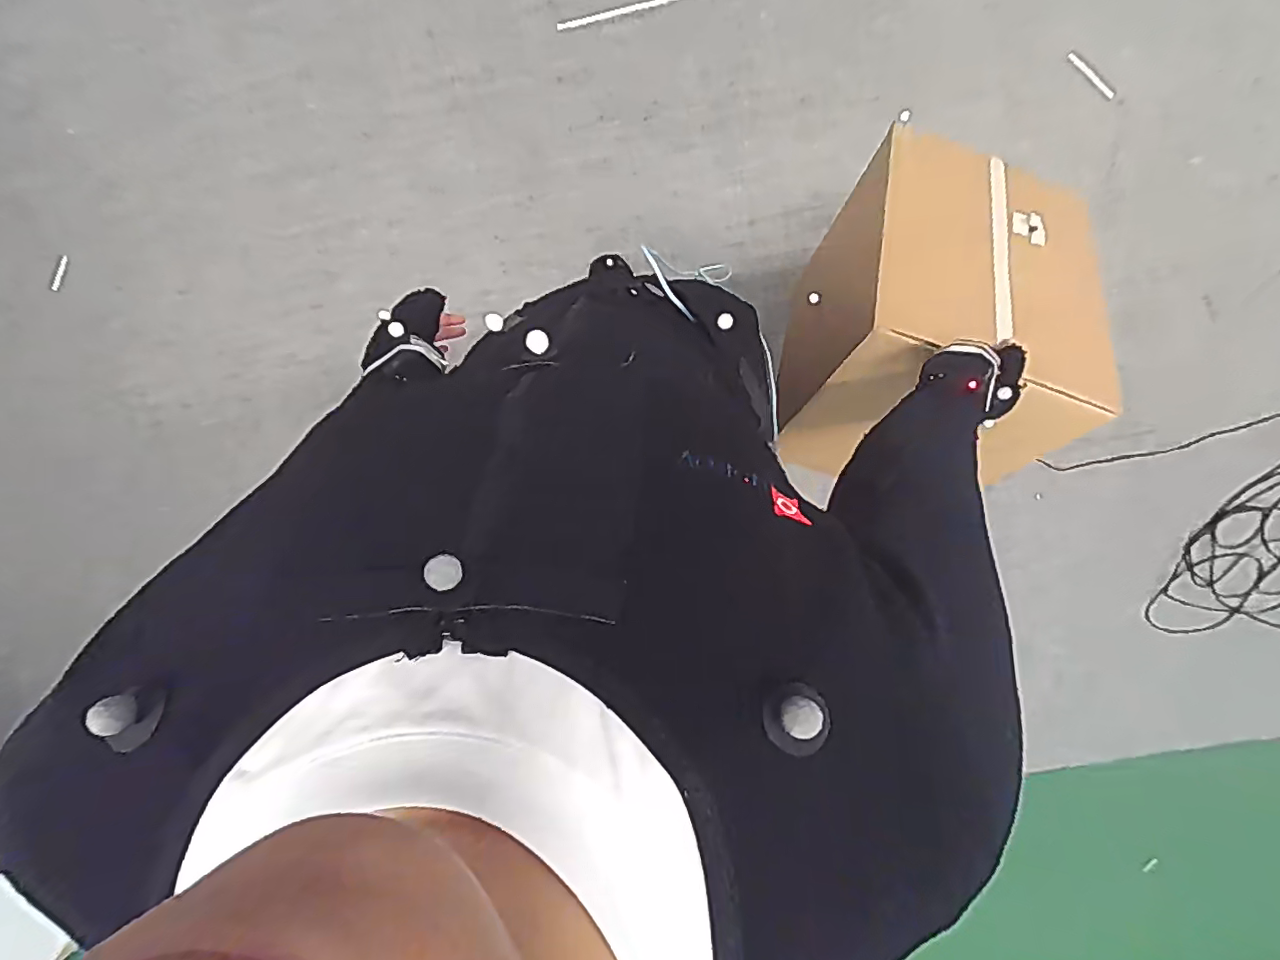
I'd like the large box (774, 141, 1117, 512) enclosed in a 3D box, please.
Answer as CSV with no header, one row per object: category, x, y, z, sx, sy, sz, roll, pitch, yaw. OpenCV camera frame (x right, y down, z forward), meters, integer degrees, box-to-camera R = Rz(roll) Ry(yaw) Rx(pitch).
large box,0.432,-0.217,0.840,0.320,0.408,0.320,19,153,-4
